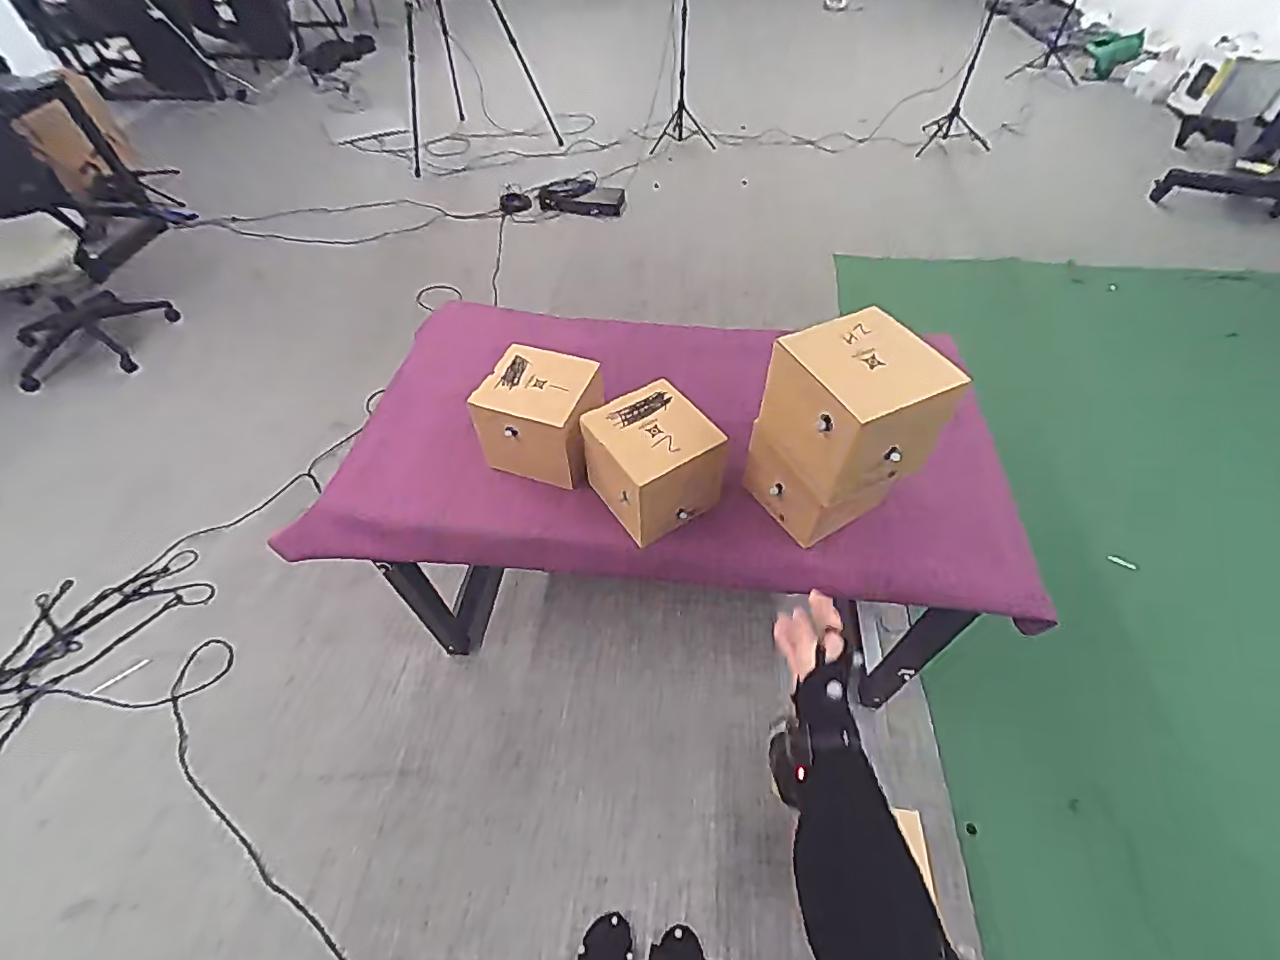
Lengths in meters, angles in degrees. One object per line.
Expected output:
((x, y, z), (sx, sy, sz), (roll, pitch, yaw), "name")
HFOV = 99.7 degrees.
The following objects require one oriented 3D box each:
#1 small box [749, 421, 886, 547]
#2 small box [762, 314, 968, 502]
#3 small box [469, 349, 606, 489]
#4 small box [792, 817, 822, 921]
((0.296, -0.019, 0.892), (0.179, 0.176, 0.168), (-27, 56, -18), "small box")
((0.288, -0.091, 0.738), (0.168, 0.176, 0.179), (-20, 53, -15), "small box")
((-0.173, -0.107, 0.975), (0.179, 0.176, 0.168), (15, 53, 12), "small box")
((0.421, 0.831, 1.141), (0.179, 0.176, 0.168), (6, 52, 5), "small box")
